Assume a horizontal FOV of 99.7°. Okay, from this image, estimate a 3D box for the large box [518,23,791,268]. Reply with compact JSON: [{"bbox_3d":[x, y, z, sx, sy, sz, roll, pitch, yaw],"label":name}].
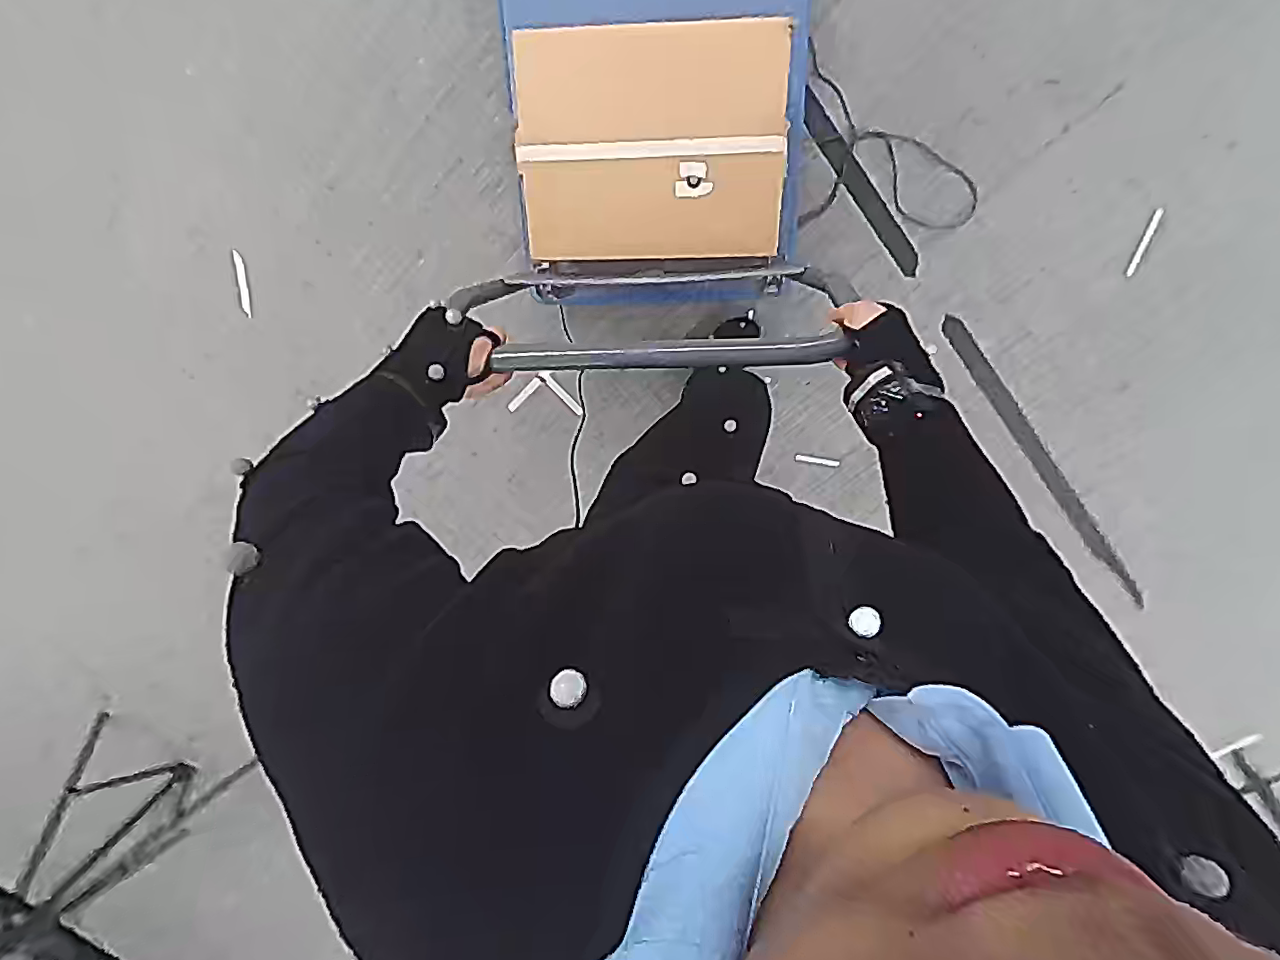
[{"bbox_3d":[0.029,-0.557,0.973,0.408,0.320,0.320,0,112,3],"label":"large box"}]
